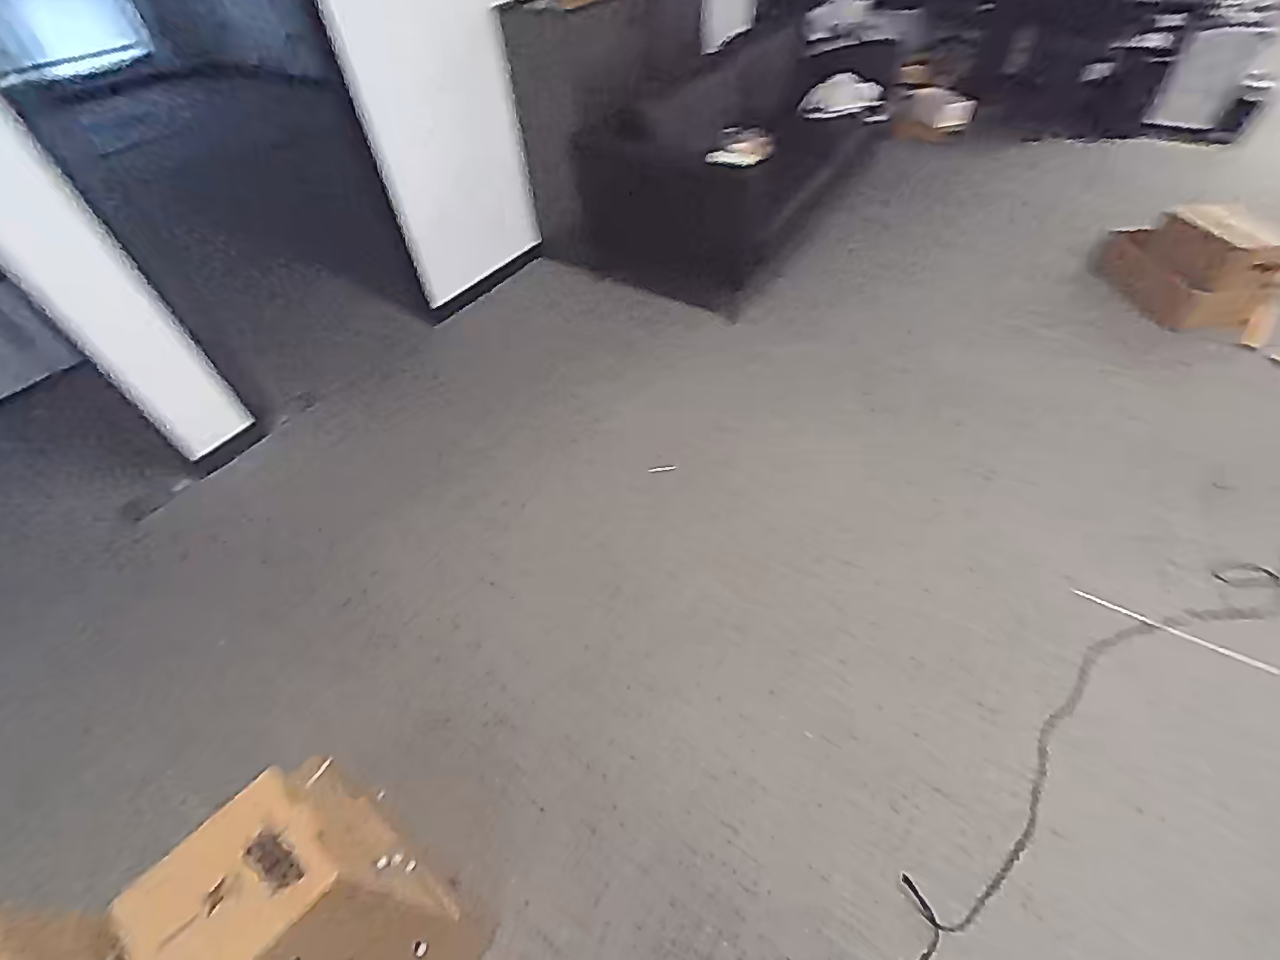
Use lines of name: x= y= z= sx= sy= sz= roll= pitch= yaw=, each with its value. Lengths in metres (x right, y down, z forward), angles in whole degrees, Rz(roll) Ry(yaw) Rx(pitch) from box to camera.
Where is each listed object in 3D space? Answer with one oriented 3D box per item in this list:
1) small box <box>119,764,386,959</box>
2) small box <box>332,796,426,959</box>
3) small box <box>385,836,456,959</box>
small box: x=-0.427 y=0.479 z=0.630 sx=0.168 sy=0.176 sz=0.179 roll=32 pitch=57 yaw=28
small box: x=-0.424 y=0.589 z=0.752 sx=0.168 sy=0.176 sz=0.179 roll=32 pitch=57 yaw=28
small box: x=-0.428 y=0.701 z=0.870 sx=0.179 sy=0.176 sz=0.168 roll=30 pitch=56 yaw=29
